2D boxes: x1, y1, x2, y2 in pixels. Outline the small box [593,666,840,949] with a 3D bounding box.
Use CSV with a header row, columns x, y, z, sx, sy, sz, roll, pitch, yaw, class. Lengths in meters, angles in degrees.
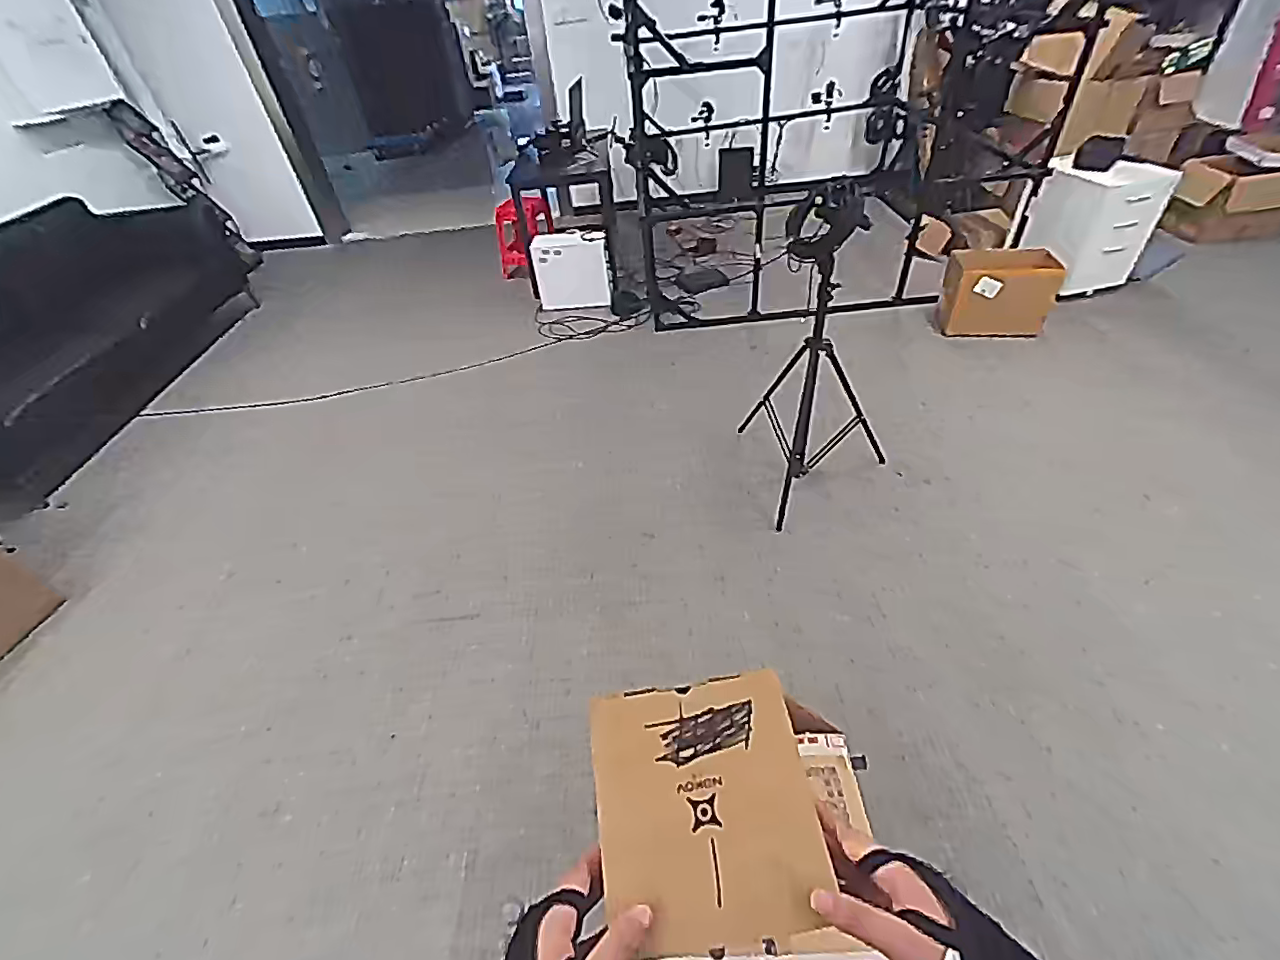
x,y,z,sx,sy,sz,roll,pitch,yaw,class
0.052,0.290,0.487,0.168,0.176,0.179,-9,54,-2,small box
